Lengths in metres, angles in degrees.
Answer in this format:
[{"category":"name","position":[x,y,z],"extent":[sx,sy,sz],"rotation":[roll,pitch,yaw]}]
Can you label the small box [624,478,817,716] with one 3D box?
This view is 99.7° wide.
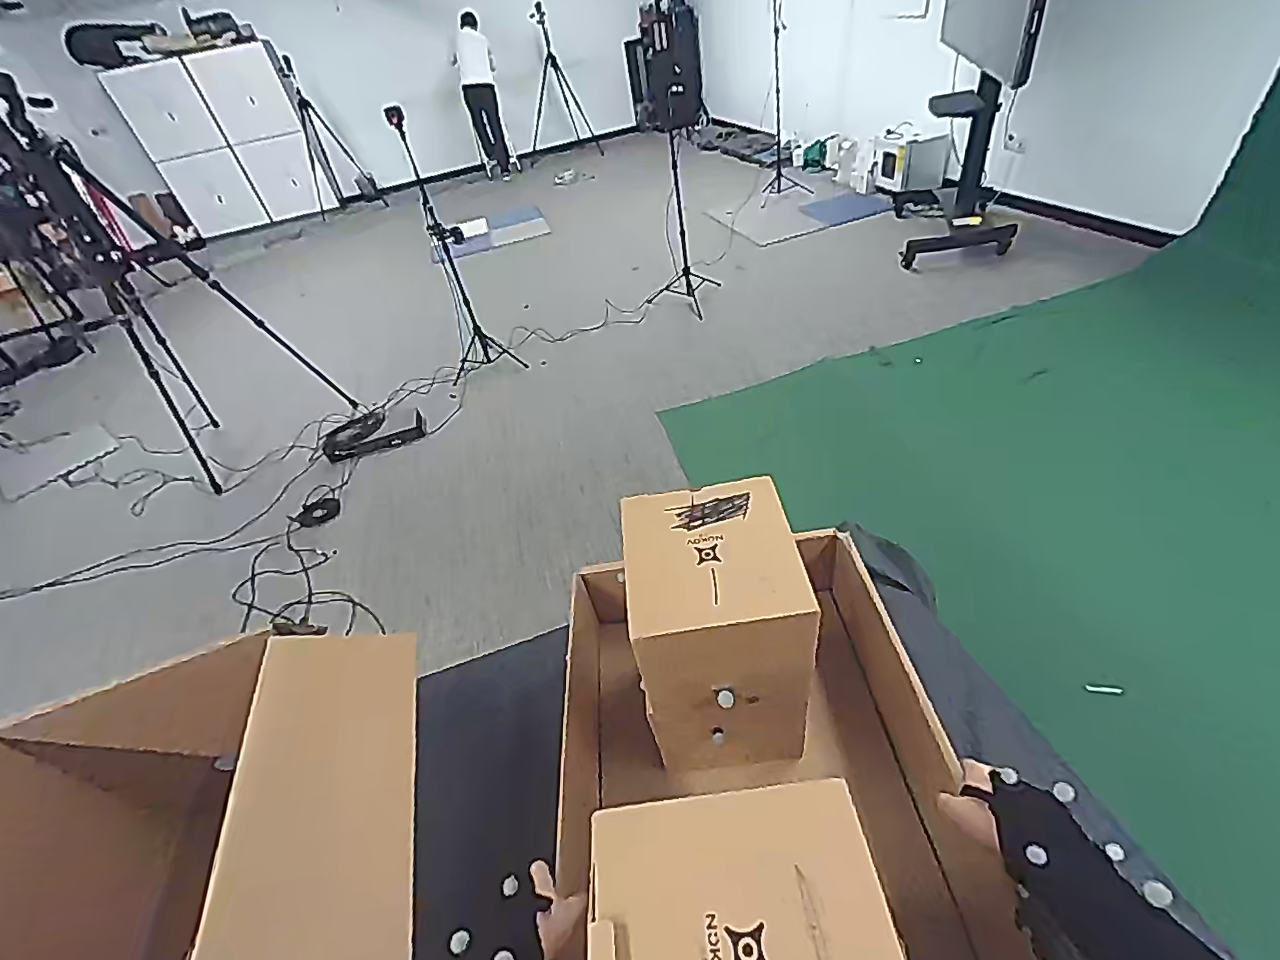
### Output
[{"category":"small box","position":[0.078,0.125,0.577],"extent":[0.168,0.176,0.179],"rotation":[-9,43,4]}]
